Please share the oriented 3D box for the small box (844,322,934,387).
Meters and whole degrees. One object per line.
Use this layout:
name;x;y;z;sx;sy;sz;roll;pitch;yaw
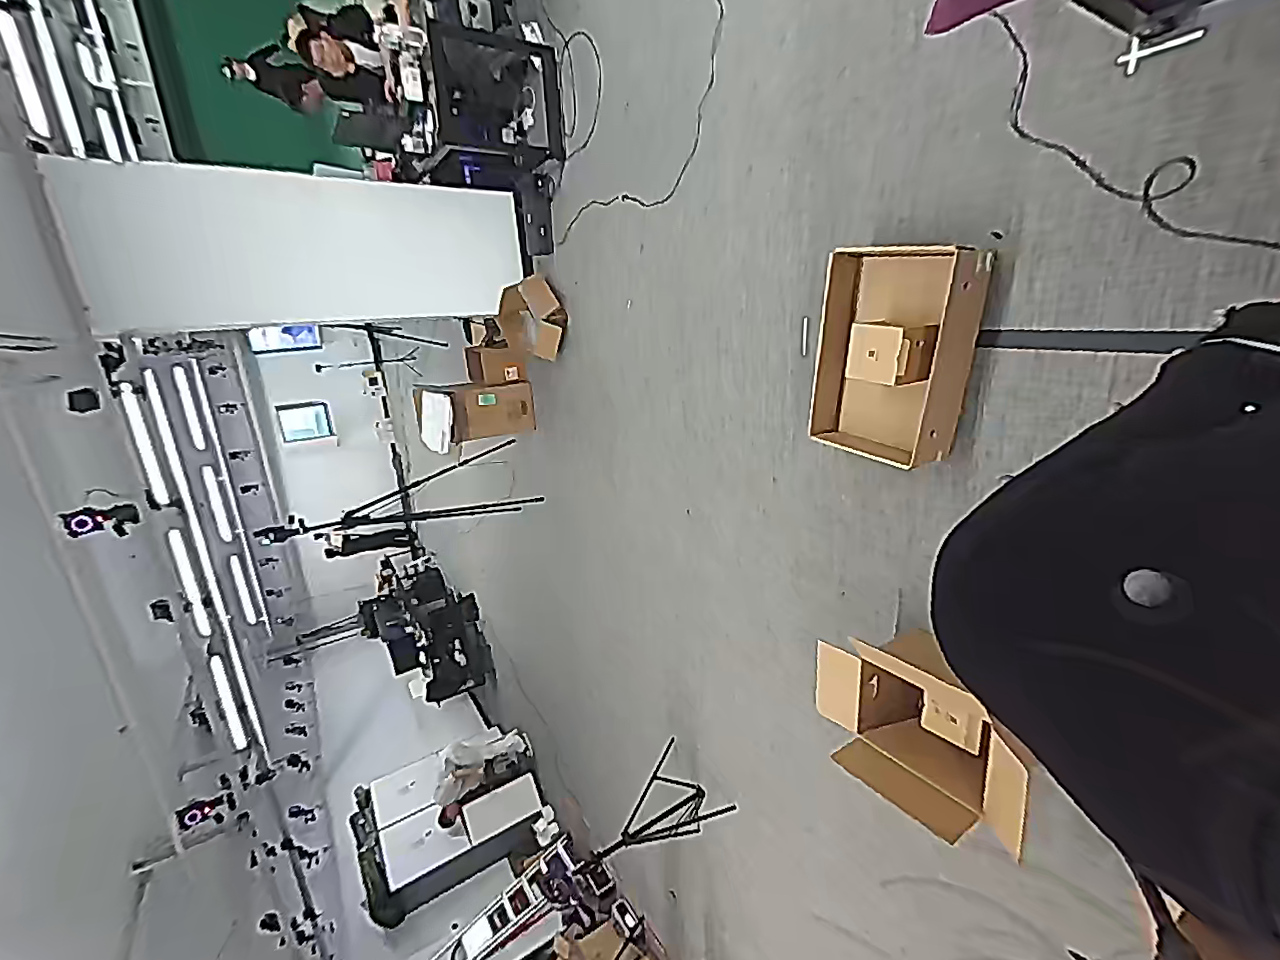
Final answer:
small box;0.752;-0.385;1.631;0.179;0.176;0.168;30;126;51
